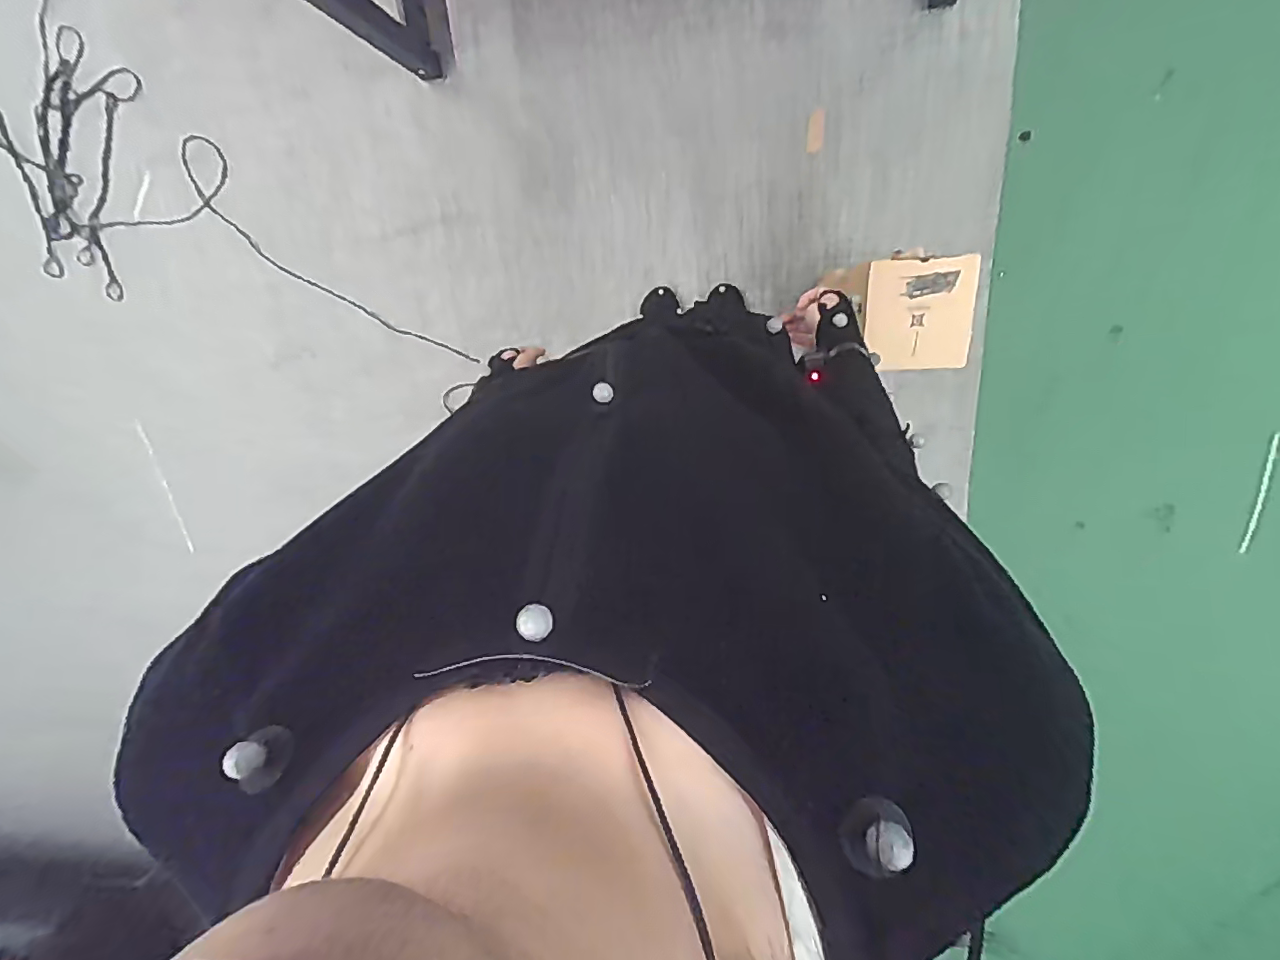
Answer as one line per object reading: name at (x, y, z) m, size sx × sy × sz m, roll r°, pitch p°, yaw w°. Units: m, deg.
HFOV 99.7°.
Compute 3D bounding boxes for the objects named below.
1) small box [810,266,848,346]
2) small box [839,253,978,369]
small box at (0.503, -0.396, 1.253) m, size 0.179 × 0.176 × 0.168 m, roll 8°, pitch 111°, yaw 6°
small box at (0.454, -0.294, 0.944) m, size 0.168 × 0.176 × 0.179 m, roll 0°, pitch 110°, yaw 8°
